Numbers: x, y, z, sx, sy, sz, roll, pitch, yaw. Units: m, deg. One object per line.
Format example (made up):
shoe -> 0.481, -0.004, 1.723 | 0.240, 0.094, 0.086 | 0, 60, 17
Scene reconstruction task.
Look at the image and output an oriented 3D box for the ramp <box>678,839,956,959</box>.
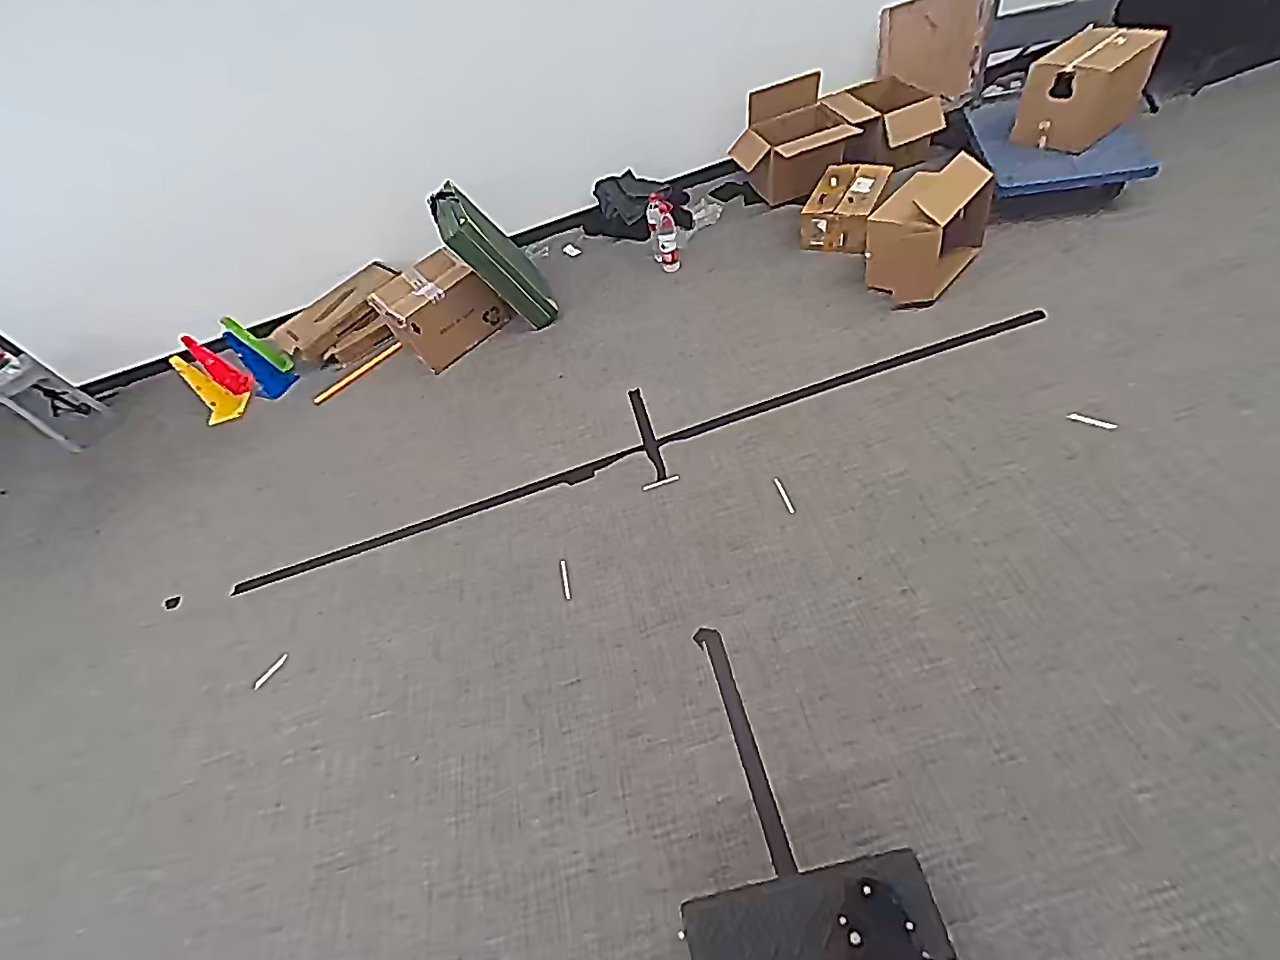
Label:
ramp -> 0.423, 1.214, 0.875 | 0.509, 0.206, 0.991 | -17, 52, 1
